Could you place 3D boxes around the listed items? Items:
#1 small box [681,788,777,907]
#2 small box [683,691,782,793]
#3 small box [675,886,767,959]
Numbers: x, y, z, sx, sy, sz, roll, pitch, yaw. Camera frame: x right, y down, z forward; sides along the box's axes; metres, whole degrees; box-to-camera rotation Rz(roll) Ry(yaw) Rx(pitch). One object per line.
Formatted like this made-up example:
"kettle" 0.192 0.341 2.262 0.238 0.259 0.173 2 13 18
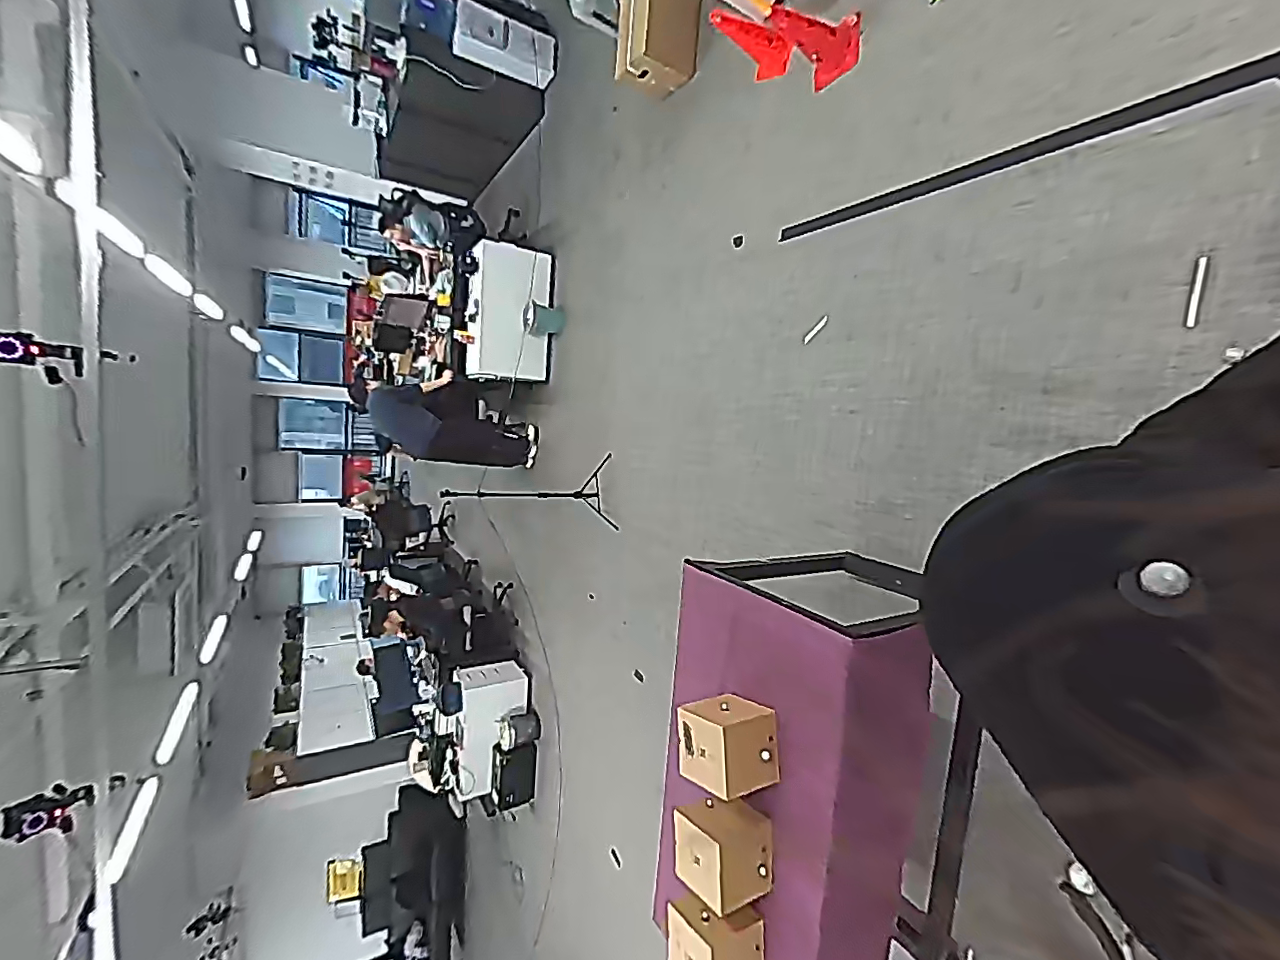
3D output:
"small box" 0.218 0.896 1.342 0.179 0.176 0.168 -3 88 59
"small box" 0.225 0.630 1.327 0.179 0.176 0.168 -9 83 58
"small box" 0.205 1.148 1.364 0.179 0.176 0.168 -1 89 59
